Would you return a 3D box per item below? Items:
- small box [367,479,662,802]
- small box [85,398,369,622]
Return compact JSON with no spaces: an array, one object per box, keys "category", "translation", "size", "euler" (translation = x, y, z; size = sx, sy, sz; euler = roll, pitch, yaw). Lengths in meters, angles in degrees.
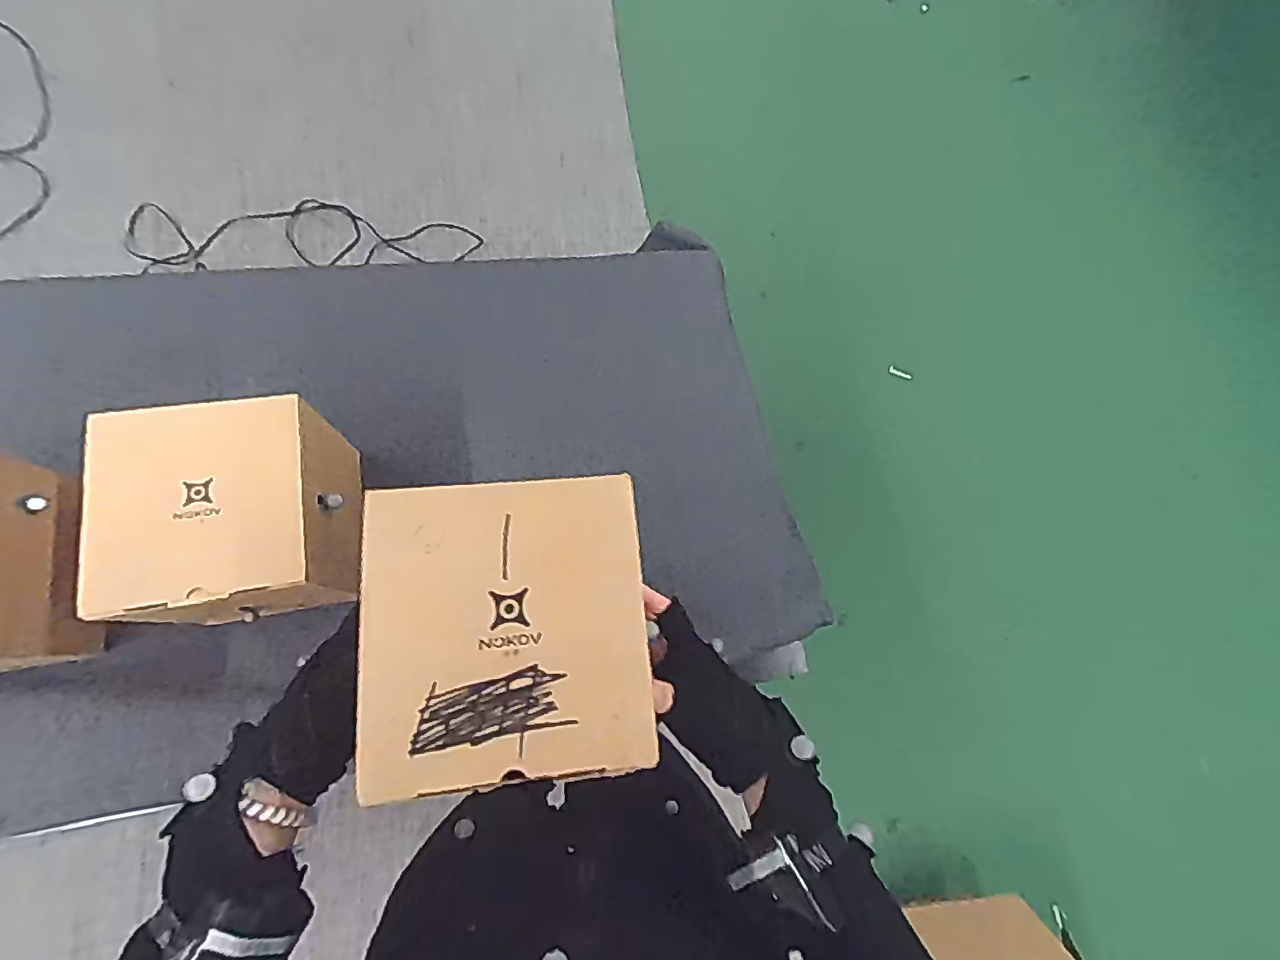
[{"category":"small box","translation":[-0.082,0.106,0.397],"size":[0.168,0.176,0.179],"euler":[-3,75,-9]},{"category":"small box","translation":[-0.383,0.038,0.534],"size":[0.168,0.176,0.179],"euler":[-8,77,-13]}]
